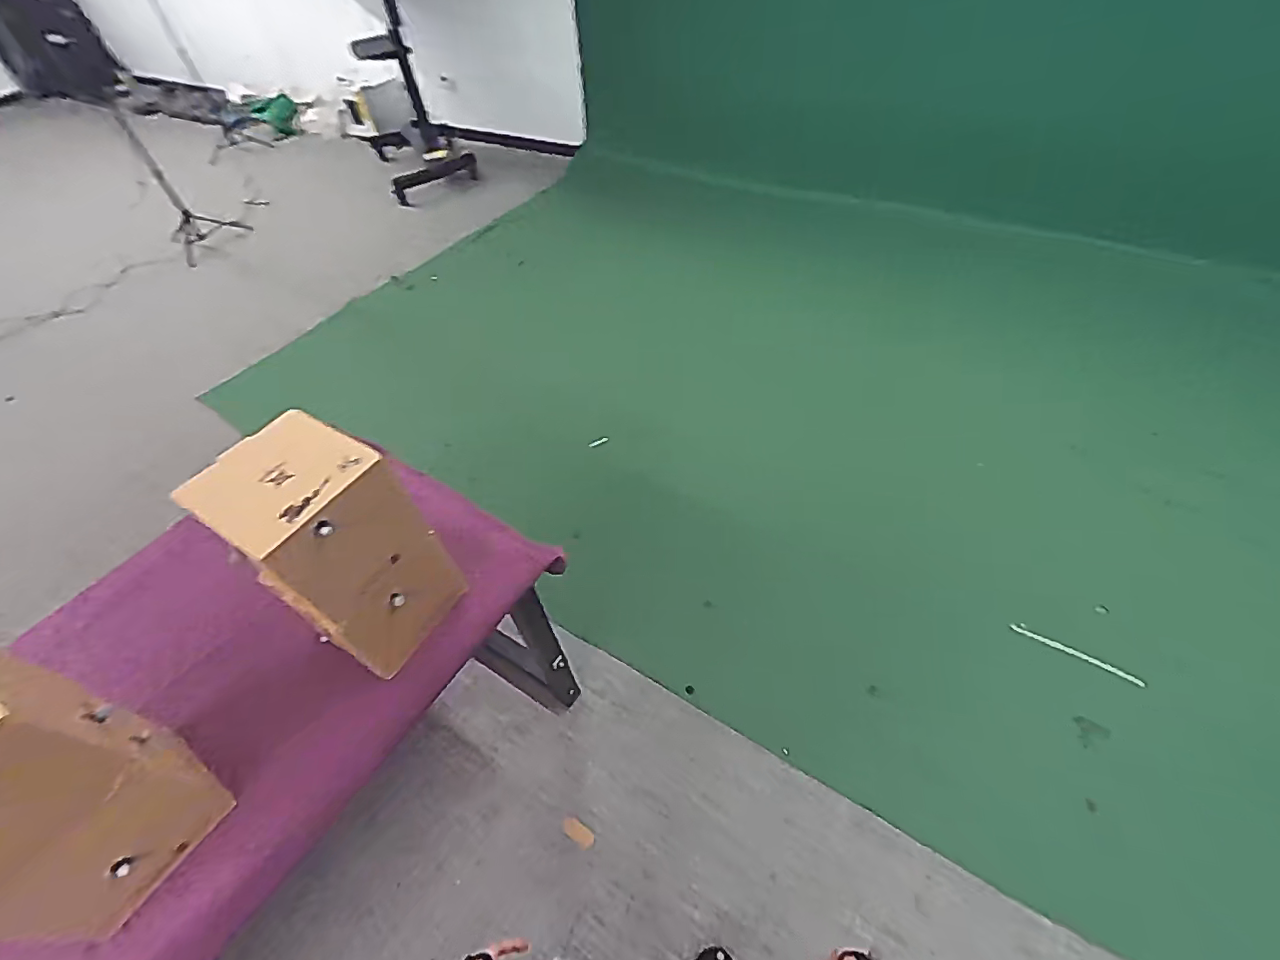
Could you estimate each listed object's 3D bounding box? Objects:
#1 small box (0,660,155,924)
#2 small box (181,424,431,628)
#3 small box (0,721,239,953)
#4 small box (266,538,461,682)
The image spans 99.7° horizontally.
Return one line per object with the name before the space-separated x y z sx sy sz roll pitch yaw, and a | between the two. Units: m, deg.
small box | -0.641 0.300 0.516 0.168 0.176 0.179 23 55 23
small box | -0.410 0.061 0.692 0.179 0.176 0.168 22 58 23
small box | -0.634 0.407 0.639 0.179 0.176 0.168 22 55 24
small box | -0.396 0.169 0.816 0.168 0.176 0.179 22 57 22
